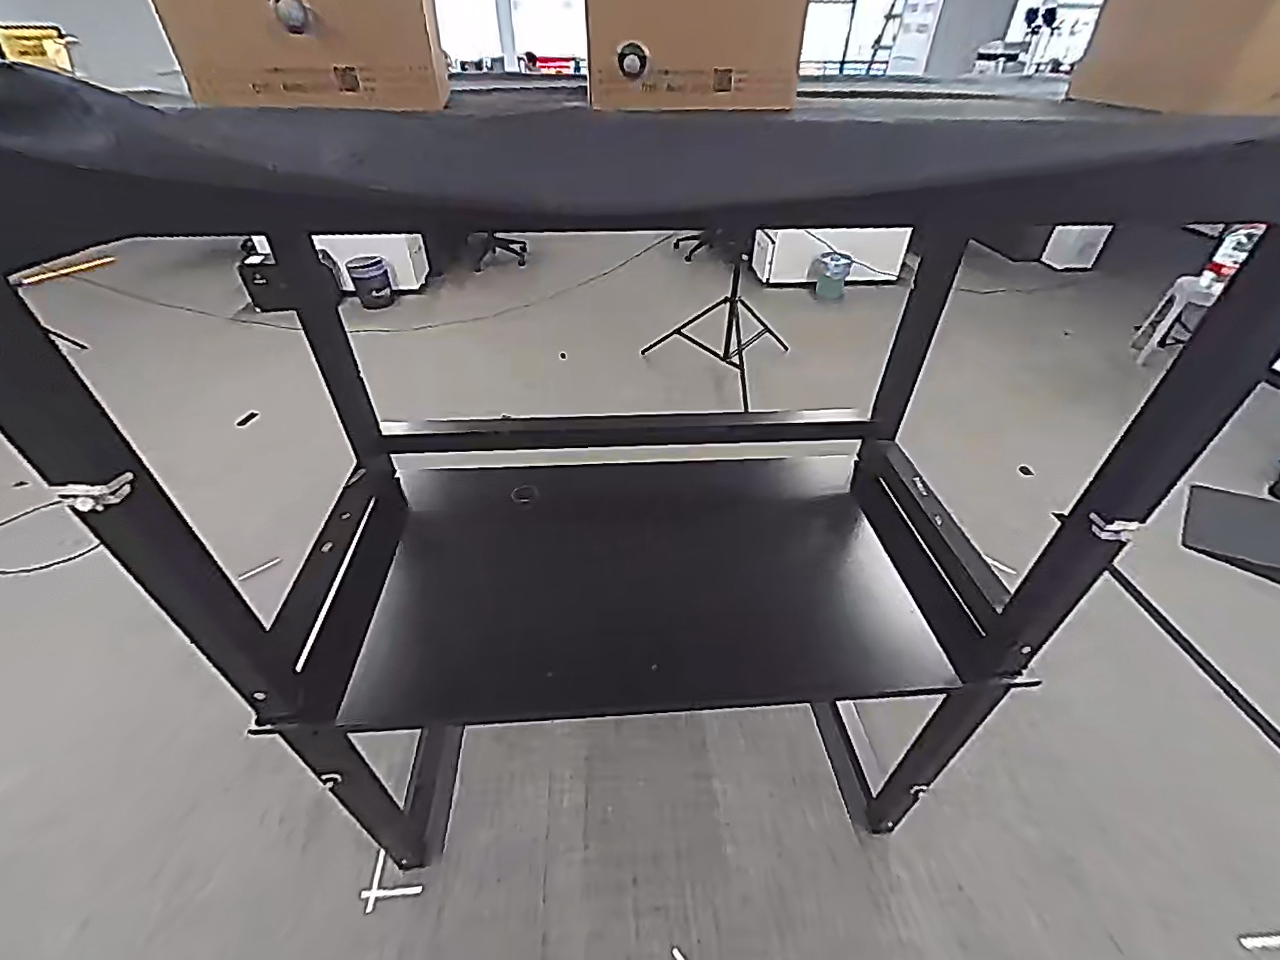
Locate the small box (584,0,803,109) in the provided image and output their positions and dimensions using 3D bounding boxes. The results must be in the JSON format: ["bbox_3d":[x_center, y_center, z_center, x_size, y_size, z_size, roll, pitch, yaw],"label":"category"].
[{"bbox_3d":[0.036,-0.411,0.445,0.168,0.176,0.179,-3,38,-4],"label":"small box"}]

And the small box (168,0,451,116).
[{"bbox_3d":[-0.247,-0.385,0.409,0.168,0.176,0.179,-9,39,-10],"label":"small box"}]
